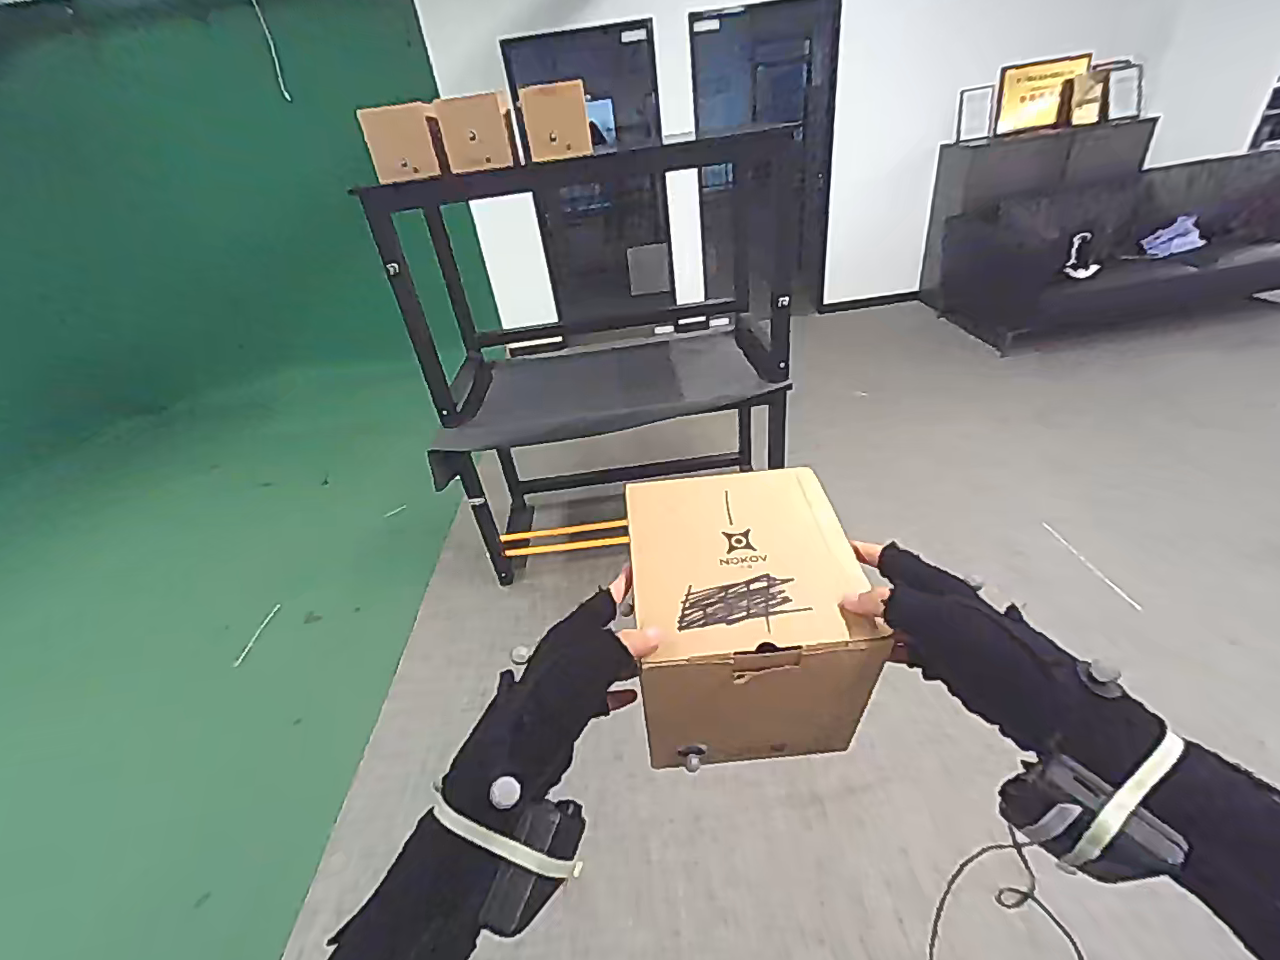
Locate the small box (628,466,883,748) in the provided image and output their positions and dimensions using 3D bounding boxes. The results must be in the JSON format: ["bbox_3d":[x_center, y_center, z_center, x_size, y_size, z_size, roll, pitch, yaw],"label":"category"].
[{"bbox_3d":[0.080,0.112,0.467,0.168,0.176,0.179,-5,40,-1],"label":"small box"}]
